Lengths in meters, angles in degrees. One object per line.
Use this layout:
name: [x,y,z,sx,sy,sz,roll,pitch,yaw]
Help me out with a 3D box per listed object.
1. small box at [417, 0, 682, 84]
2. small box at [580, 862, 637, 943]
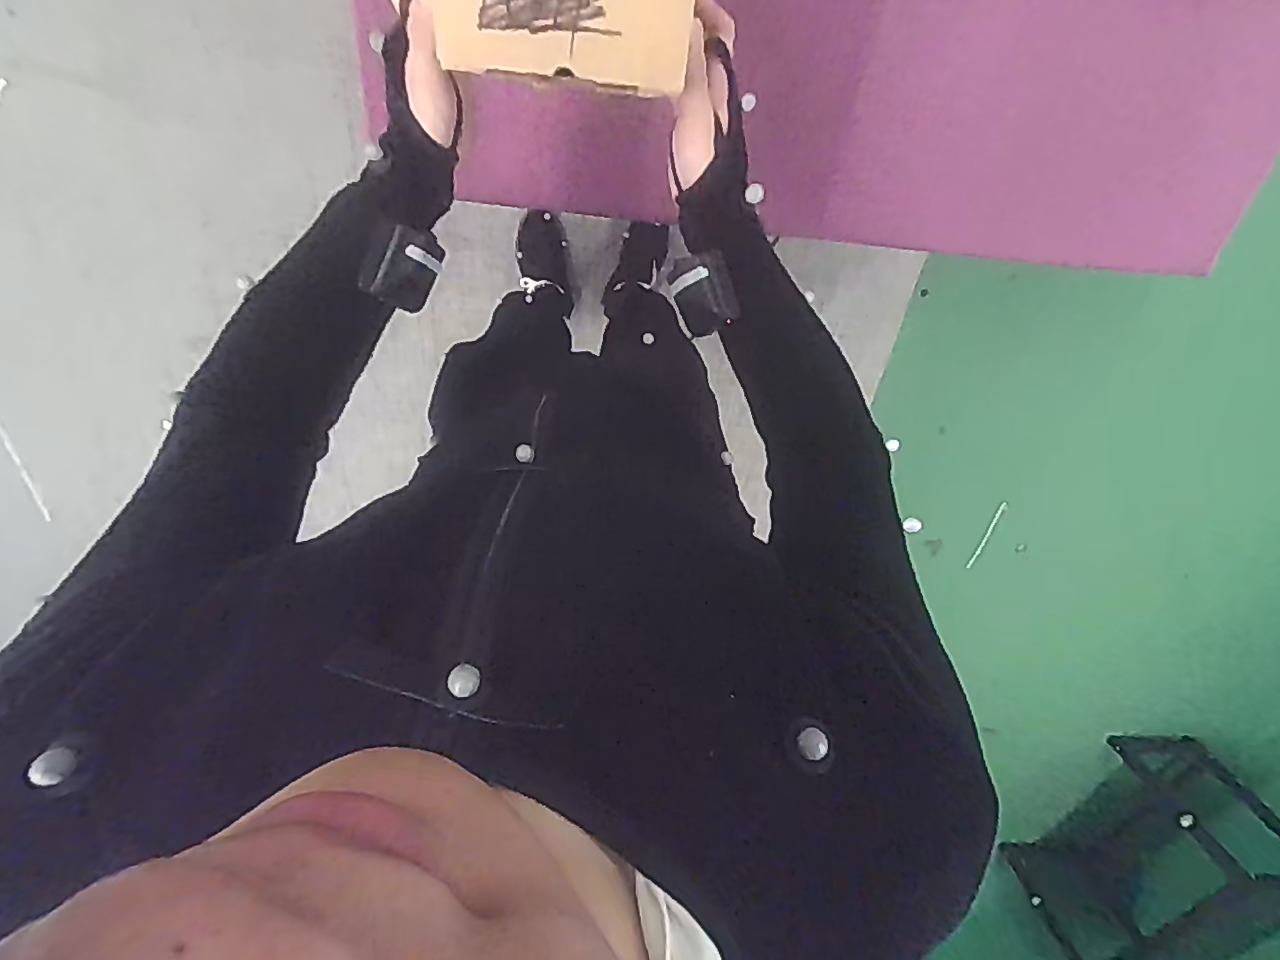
small box: [-0.053,-0.388,0.360,0.168,0.176,0.179,2,129,-7]
small box: [-0.113,1.445,1.851,0.168,0.176,0.179,7,120,-11]
